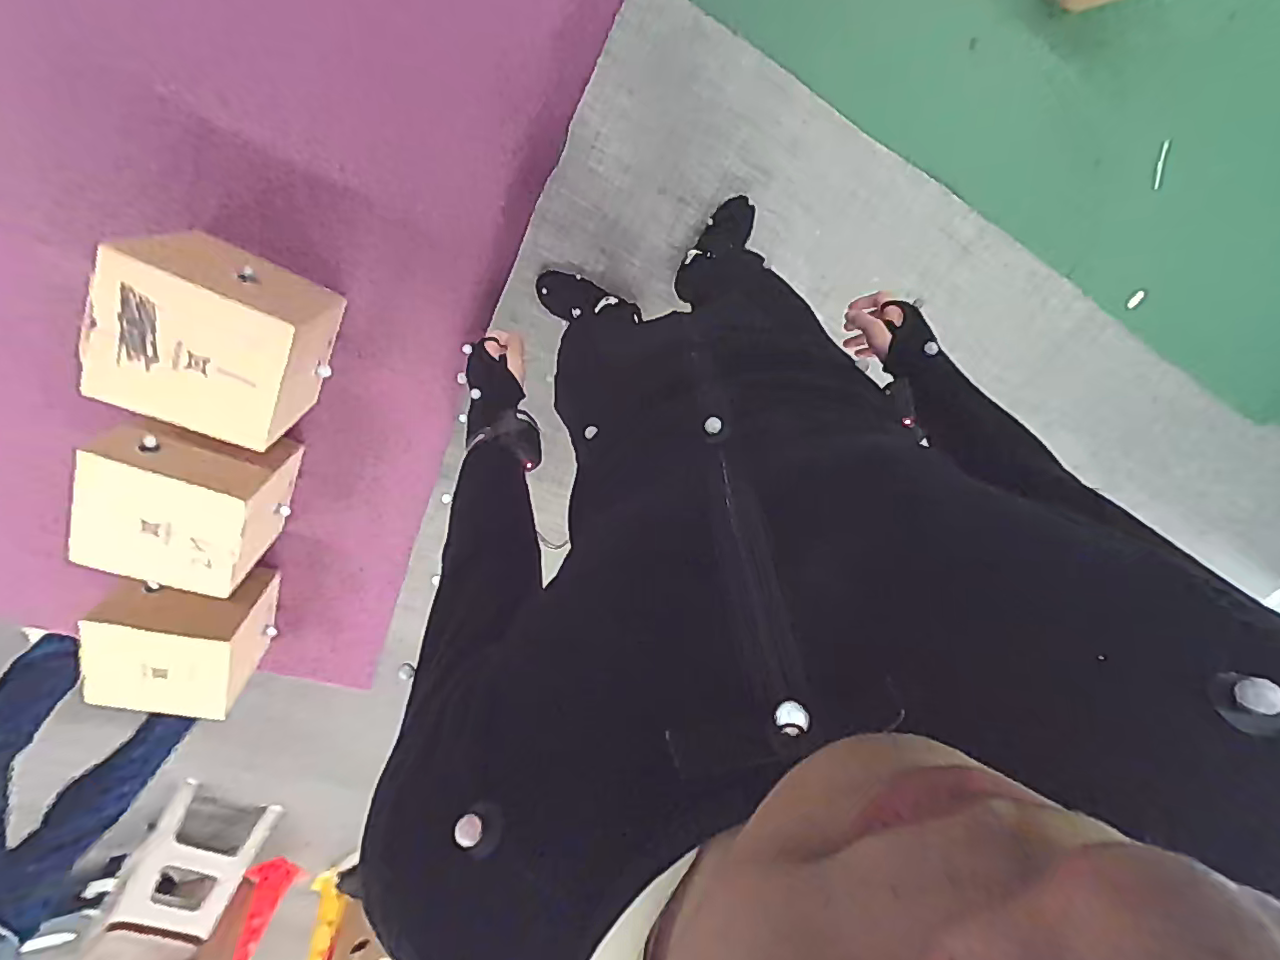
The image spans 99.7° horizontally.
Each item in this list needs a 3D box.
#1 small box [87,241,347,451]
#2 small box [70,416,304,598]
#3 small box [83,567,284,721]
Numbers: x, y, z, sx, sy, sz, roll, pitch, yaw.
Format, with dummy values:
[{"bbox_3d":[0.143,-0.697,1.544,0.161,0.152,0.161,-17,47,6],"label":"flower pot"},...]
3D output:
[{"bbox_3d":[-0.486,-0.166,0.644,0.179,0.176,0.168,23,113,-20],"label":"small box"},{"bbox_3d":[-0.595,0.024,0.730,0.179,0.176,0.168,21,113,-19],"label":"small box"},{"bbox_3d":[-0.688,0.234,0.830,0.179,0.176,0.168,16,115,-17],"label":"small box"}]
